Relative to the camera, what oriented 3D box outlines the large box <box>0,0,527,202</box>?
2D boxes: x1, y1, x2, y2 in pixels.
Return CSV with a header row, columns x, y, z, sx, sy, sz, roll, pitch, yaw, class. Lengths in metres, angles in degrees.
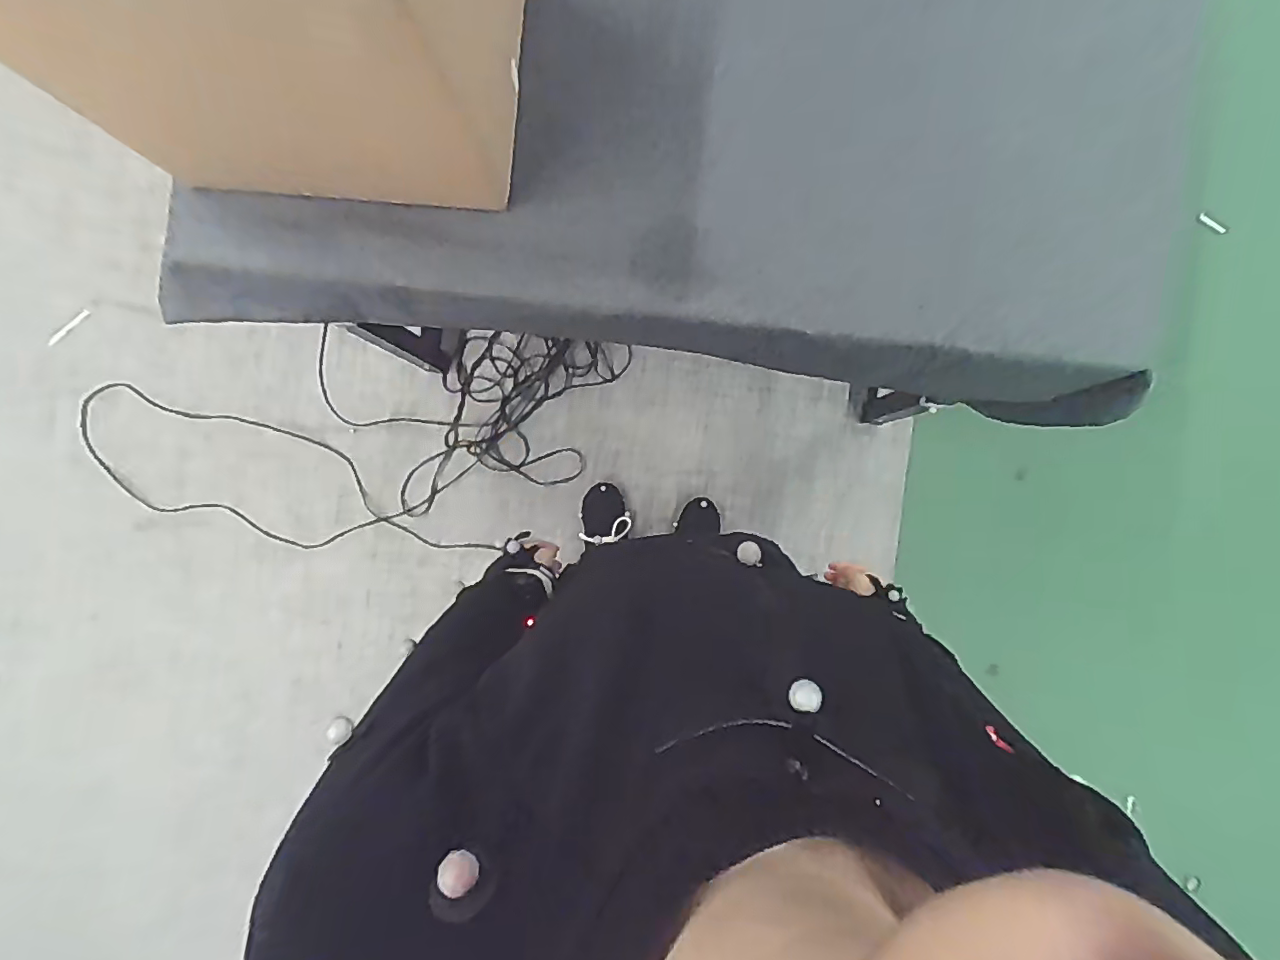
x,y,z,sx,sy,sz,roll,pitch,yaw,class
-0.344,-0.502,0.516,0.408,0.320,0.320,4,90,0,large box
